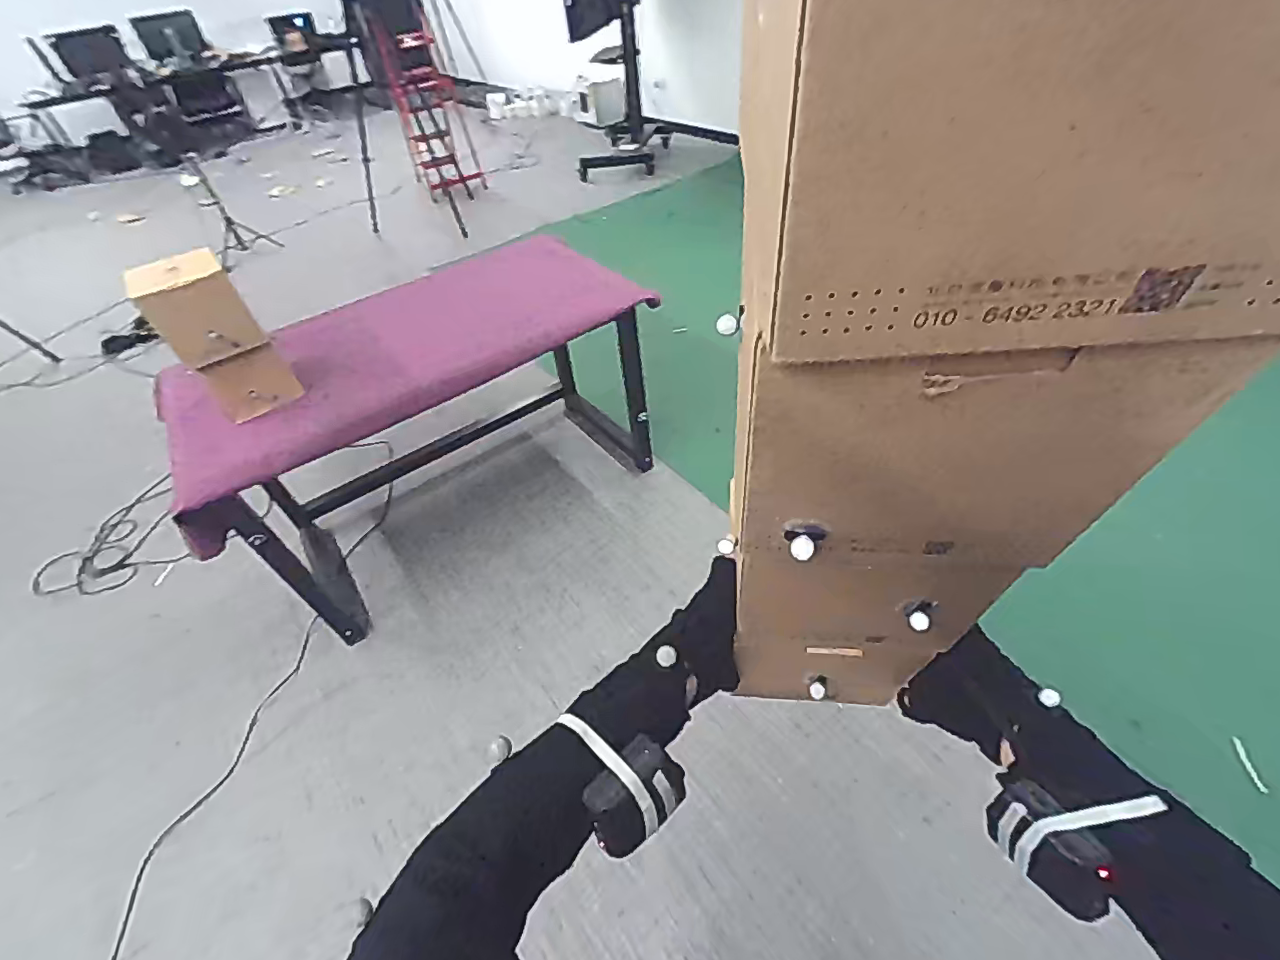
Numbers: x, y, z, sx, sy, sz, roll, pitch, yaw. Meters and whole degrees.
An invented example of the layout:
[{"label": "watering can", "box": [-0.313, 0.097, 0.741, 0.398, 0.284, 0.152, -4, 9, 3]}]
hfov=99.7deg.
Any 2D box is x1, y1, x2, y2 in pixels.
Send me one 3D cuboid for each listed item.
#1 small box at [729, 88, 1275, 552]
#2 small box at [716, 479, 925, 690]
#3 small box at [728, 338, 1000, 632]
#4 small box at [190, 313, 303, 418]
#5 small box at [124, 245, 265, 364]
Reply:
[{"label": "small box", "box": [0.135, -0.073, 0.291, 0.168, 0.176, 0.179, 1, 54, 8]}, {"label": "small box", "box": [0.168, 0.112, 0.562, 0.168, 0.176, 0.179, -3, 53, 7]}, {"label": "small box", "box": [0.154, 0.006, 0.414, 0.168, 0.176, 0.179, 0, 54, 8]}, {"label": "small box", "box": [-0.951, -0.276, 1.295, 0.168, 0.176, 0.179, -34, 53, -24]}, {"label": "small box", "box": [-0.951, -0.376, 1.162, 0.168, 0.176, 0.179, -33, 52, -23]}]
